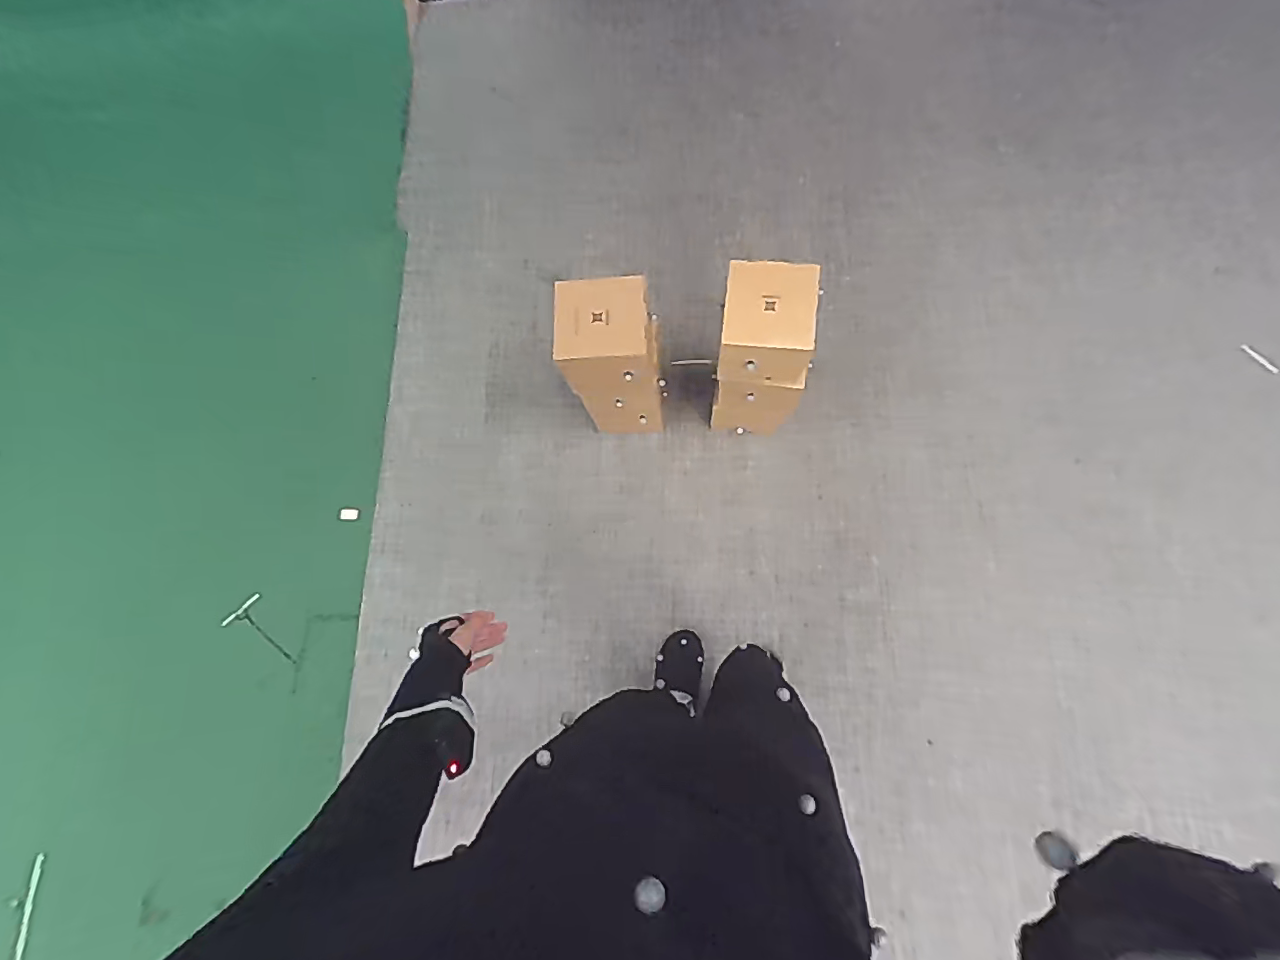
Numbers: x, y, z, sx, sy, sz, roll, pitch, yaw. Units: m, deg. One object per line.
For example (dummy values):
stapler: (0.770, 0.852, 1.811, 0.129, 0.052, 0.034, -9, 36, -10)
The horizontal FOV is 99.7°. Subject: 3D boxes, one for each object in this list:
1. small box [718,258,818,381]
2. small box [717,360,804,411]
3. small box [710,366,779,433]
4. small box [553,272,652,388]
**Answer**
small box: (0.244, -0.308, 1.064, 0.168, 0.176, 0.179, 6, 78, 7)
small box: (0.272, -0.266, 1.219, 0.179, 0.176, 0.168, 9, 79, 9)
small box: (0.273, -0.235, 1.381, 0.168, 0.176, 0.179, 8, 79, 8)
small box: (-0.067, -0.294, 1.090, 0.179, 0.176, 0.168, -2, 77, 6)
